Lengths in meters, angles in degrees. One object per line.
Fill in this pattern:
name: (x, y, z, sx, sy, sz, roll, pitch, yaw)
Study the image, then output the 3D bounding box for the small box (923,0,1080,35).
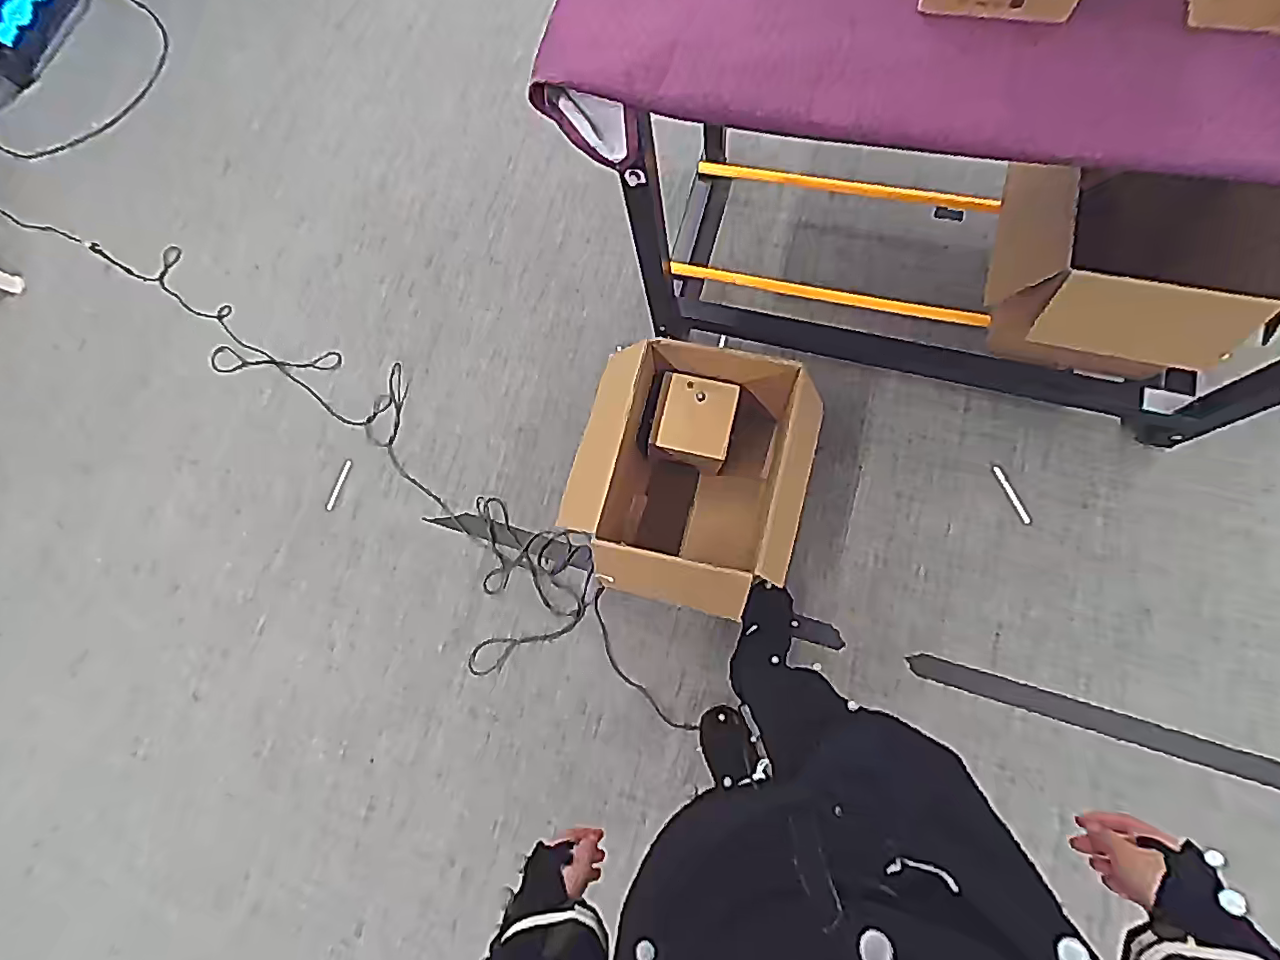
small box: (0.435, -0.646, 0.593, 0.168, 0.176, 0.179, 14, 78, 11)

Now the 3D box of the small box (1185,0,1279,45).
small box: (0.709, -0.576, 0.532, 0.179, 0.176, 0.168, 16, 77, 12)
